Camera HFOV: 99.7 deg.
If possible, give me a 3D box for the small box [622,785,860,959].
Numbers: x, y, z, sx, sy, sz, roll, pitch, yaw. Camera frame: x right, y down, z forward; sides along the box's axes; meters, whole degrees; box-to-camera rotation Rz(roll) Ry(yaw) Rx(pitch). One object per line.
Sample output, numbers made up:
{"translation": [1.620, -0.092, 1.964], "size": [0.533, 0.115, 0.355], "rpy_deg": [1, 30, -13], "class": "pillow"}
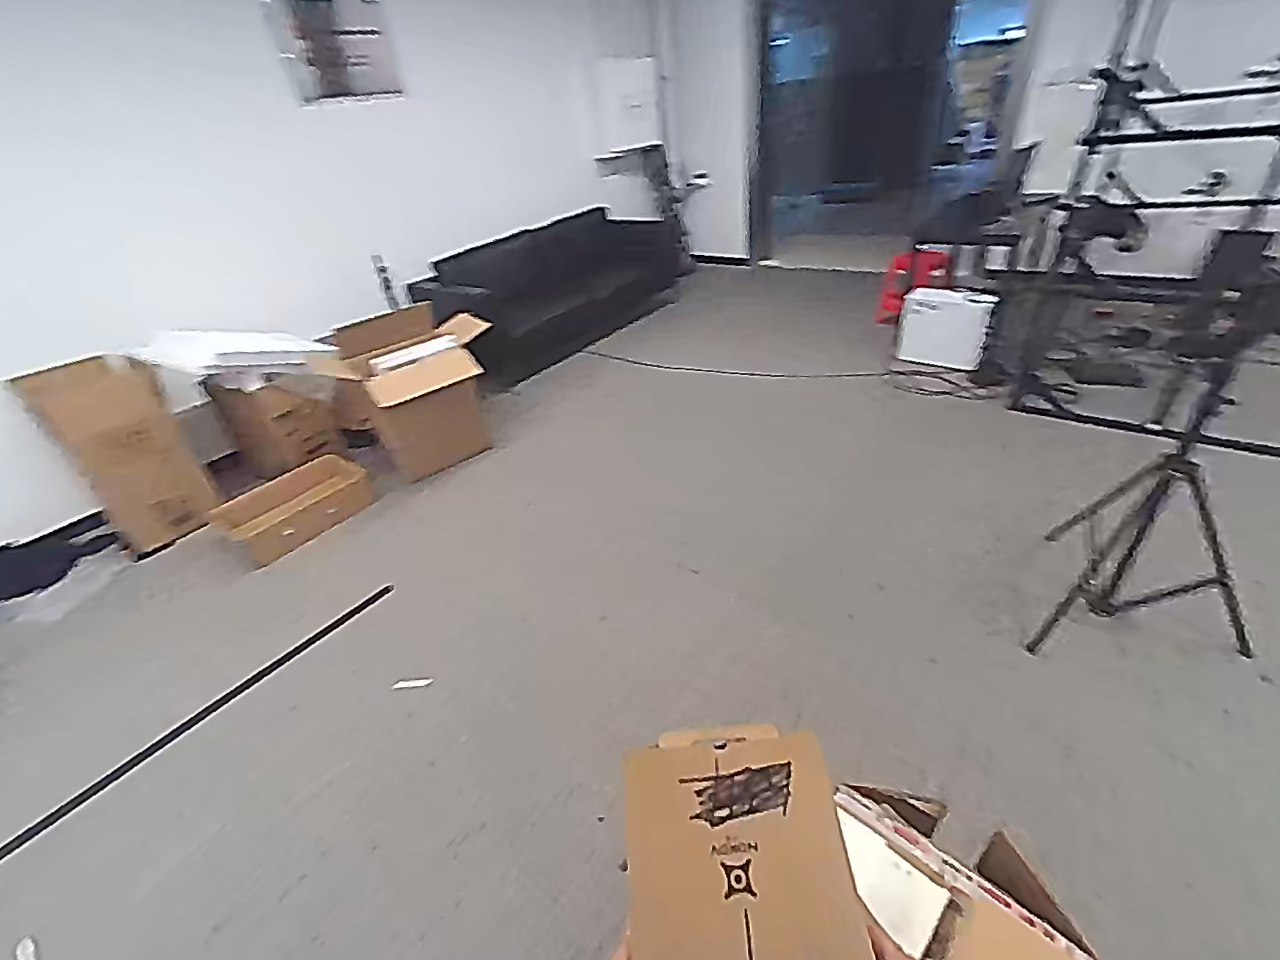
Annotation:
{"translation": [0.075, 0.375, 0.448], "size": [0.168, 0.176, 0.179], "rpy_deg": [-6, 49, 1], "class": "small box"}
